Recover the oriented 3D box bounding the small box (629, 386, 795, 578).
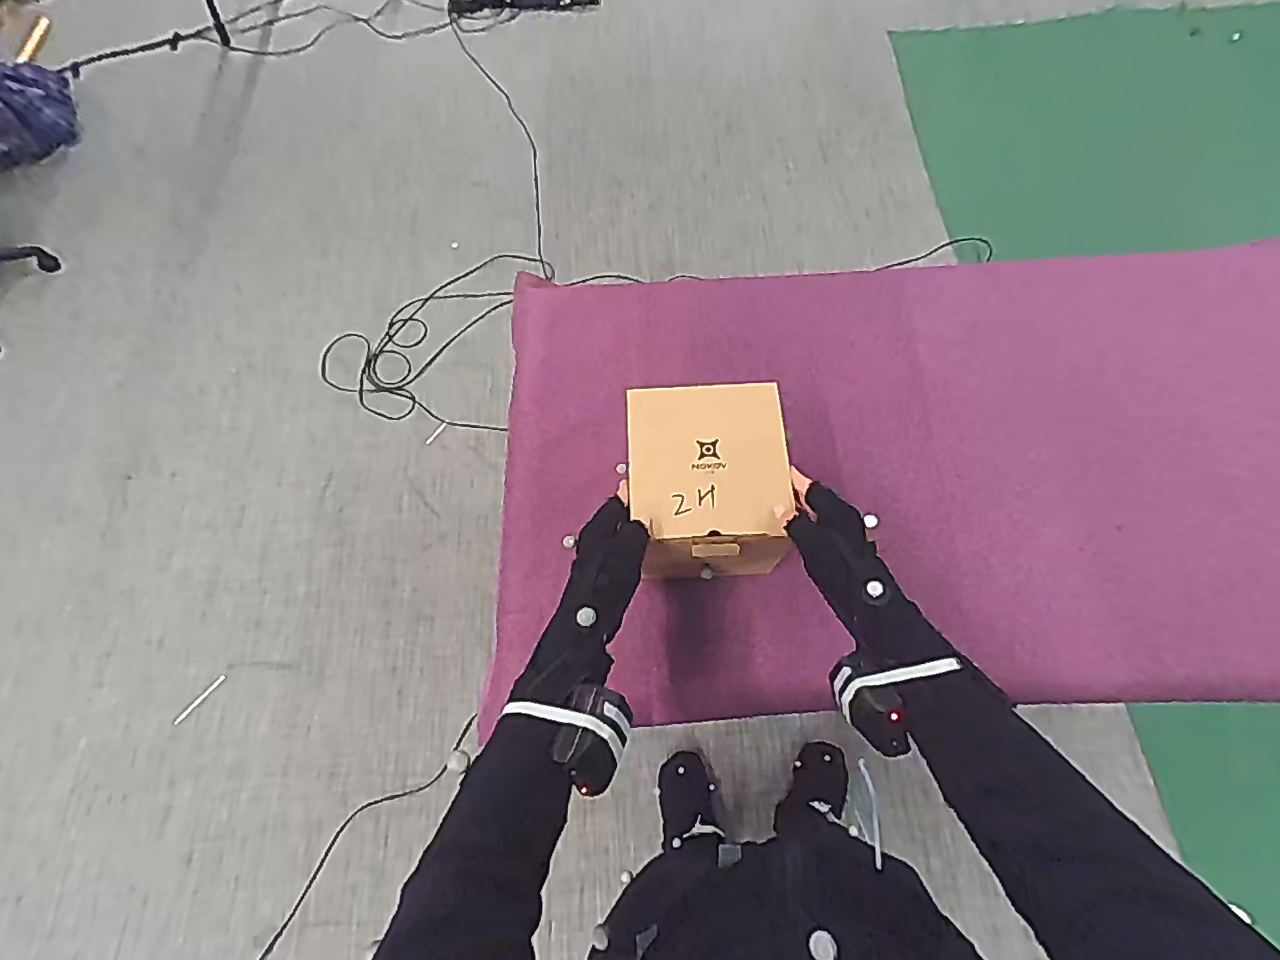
[{"bbox_3d":[0.073,0.009,0.636,0.168,0.176,0.179,-3,68,2],"label":"small box"}]
